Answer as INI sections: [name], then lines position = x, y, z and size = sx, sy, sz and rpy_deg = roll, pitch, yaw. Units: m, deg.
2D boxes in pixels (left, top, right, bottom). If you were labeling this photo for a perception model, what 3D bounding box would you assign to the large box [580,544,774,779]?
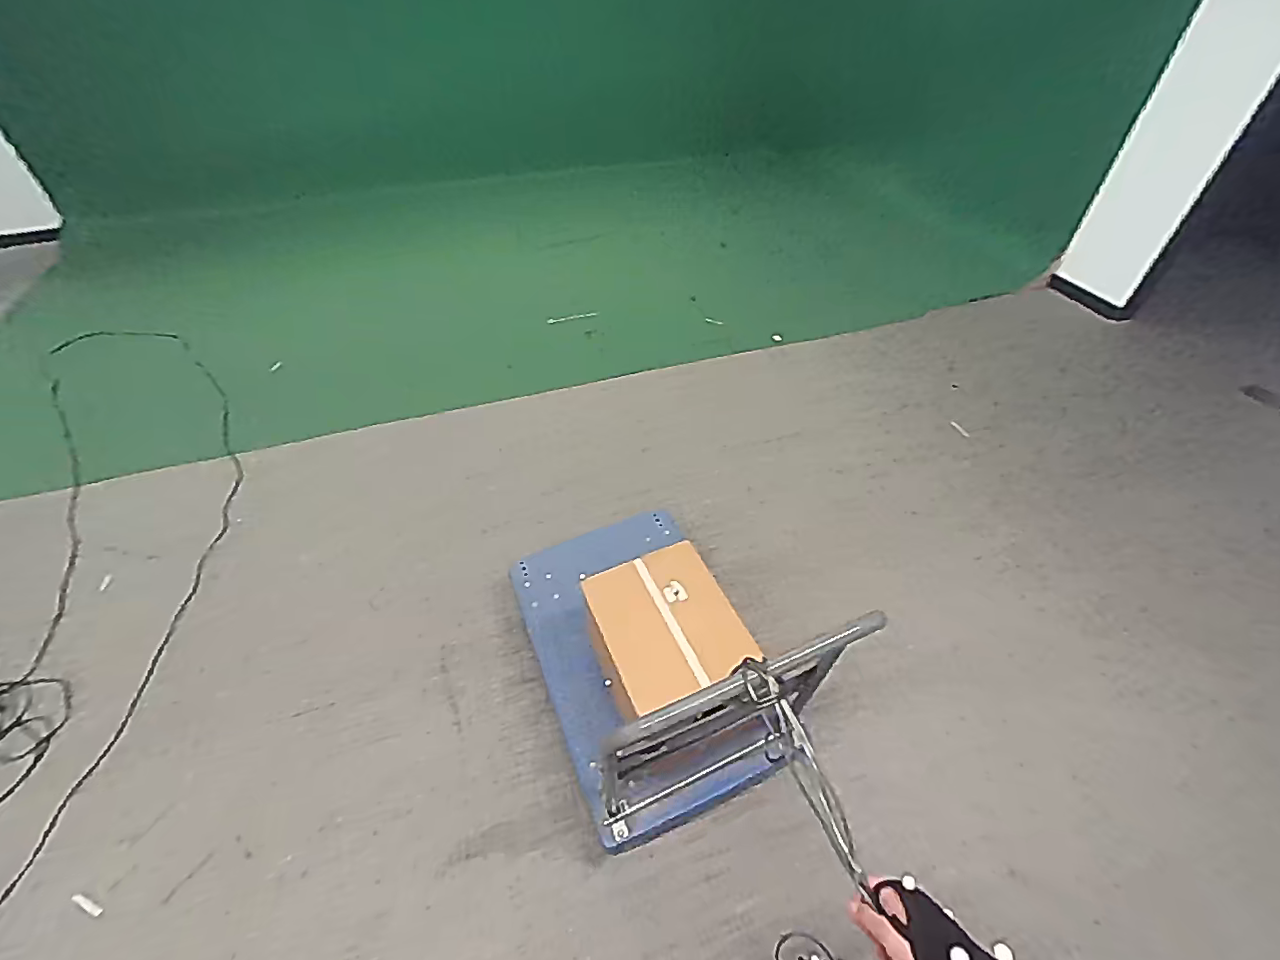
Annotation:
[large box]
position = 0.077, 0.444, 1.357
size = 0.320, 0.320, 0.408
rpy_deg = -18, 47, -17
